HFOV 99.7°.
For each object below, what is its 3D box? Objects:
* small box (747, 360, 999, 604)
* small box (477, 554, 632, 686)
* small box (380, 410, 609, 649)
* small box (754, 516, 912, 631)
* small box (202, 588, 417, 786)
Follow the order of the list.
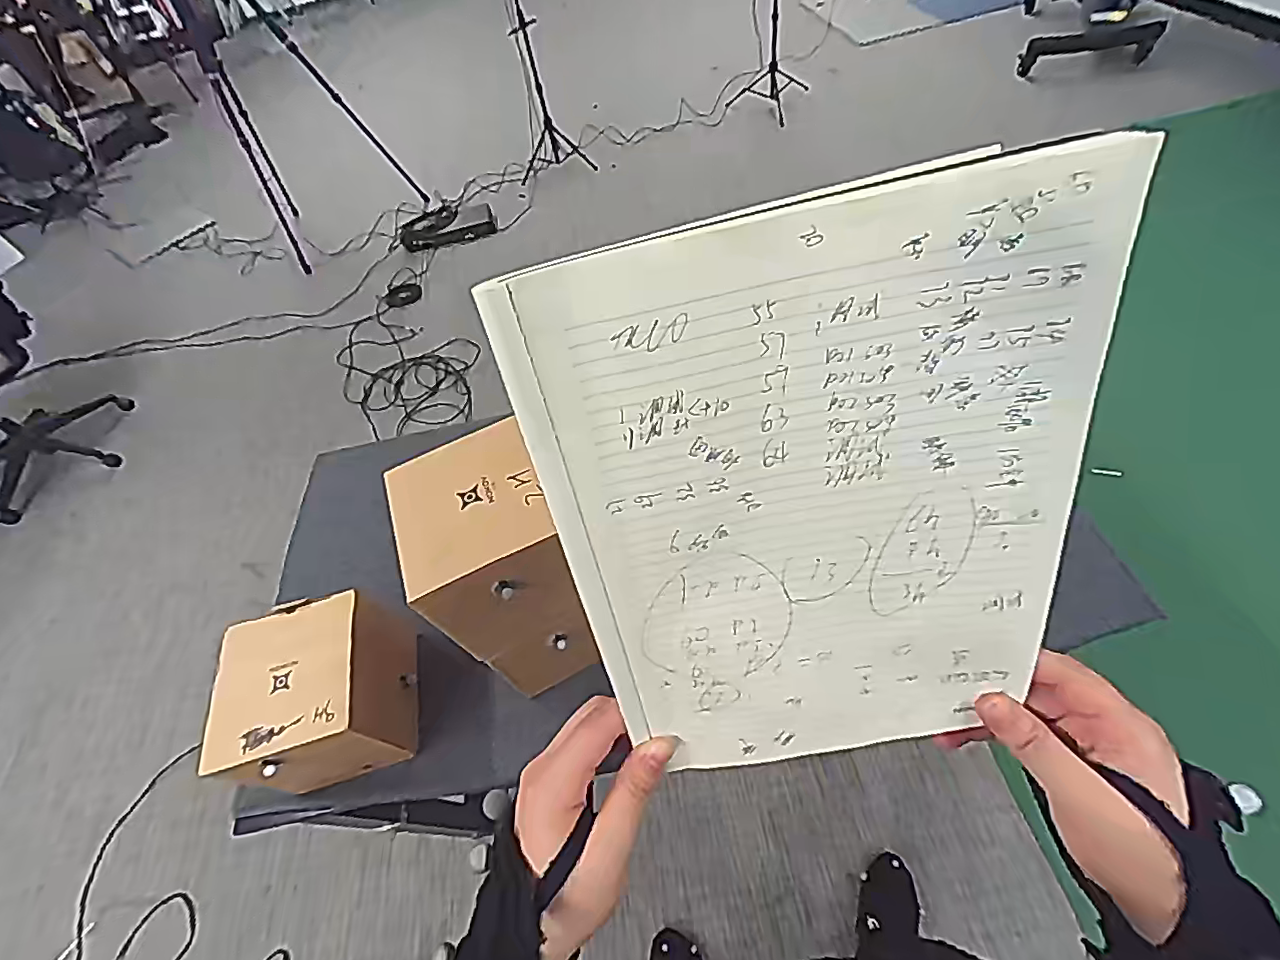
[{"bbox_3d":[0.218,0.008,0.566,0.179,0.176,0.168,-15,53,1],"label":"small box"},{"bbox_3d":[-0.129,0.153,0.735,0.179,0.176,0.168,-27,56,-9],"label":"small box"},{"bbox_3d":[-0.153,0.061,0.600,0.179,0.176,0.168,-25,55,-7],"label":"small box"},{"bbox_3d":[0.236,0.082,0.711,0.168,0.176,0.179,-1,55,11],"label":"small box"},{"bbox_3d":[-0.406,0.271,0.701,0.168,0.176,0.179,-17,54,-2],"label":"small box"}]
